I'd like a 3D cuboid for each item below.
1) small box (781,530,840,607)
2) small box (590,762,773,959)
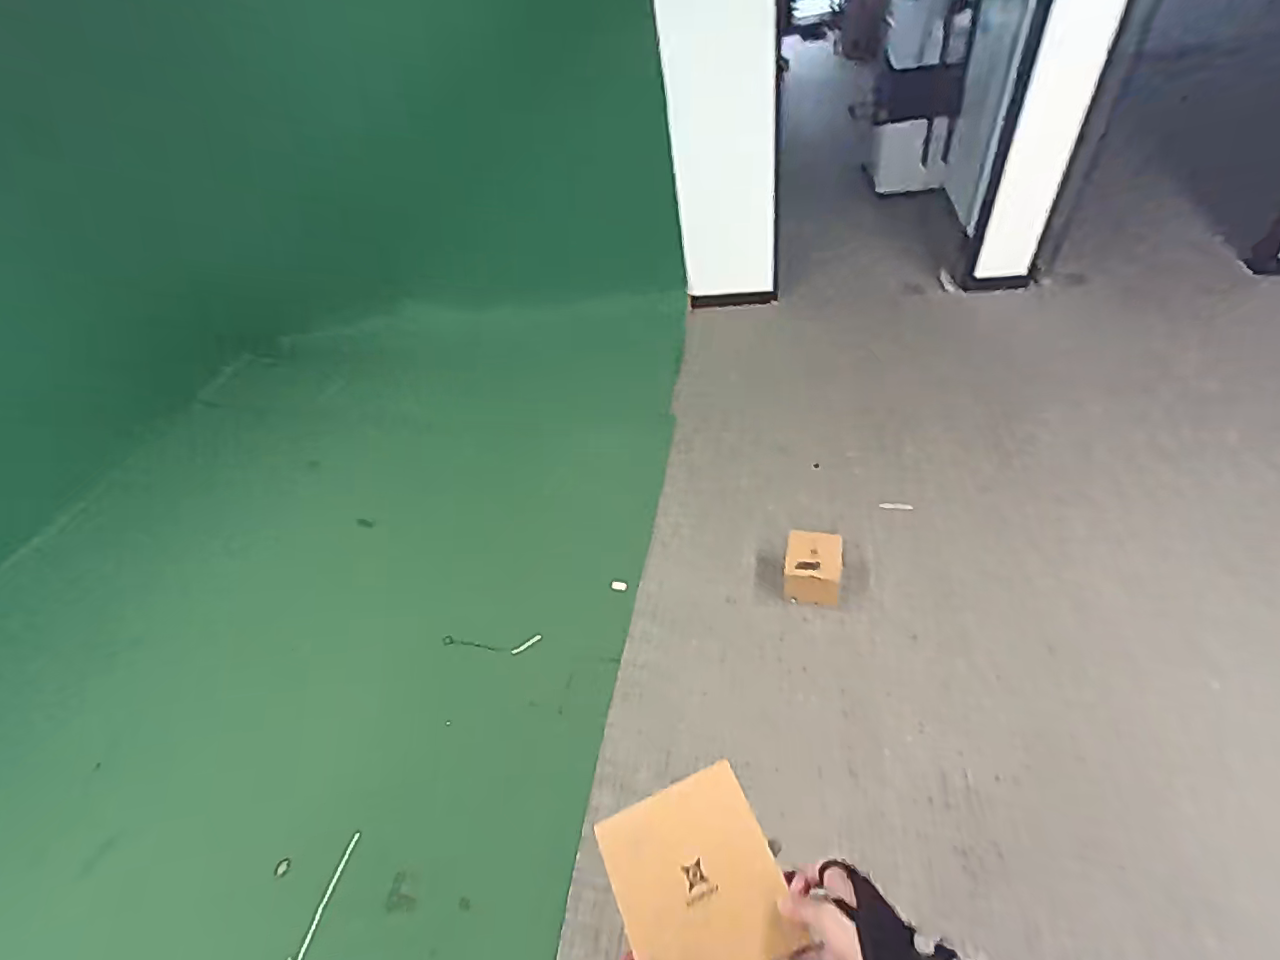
[{"bbox_3d":[0.551,0.289,1.753,0.168,0.176,0.179,6,49,17],"label":"small box"},{"bbox_3d":[0.055,0.441,0.626,0.179,0.176,0.168,4,57,9],"label":"small box"}]
